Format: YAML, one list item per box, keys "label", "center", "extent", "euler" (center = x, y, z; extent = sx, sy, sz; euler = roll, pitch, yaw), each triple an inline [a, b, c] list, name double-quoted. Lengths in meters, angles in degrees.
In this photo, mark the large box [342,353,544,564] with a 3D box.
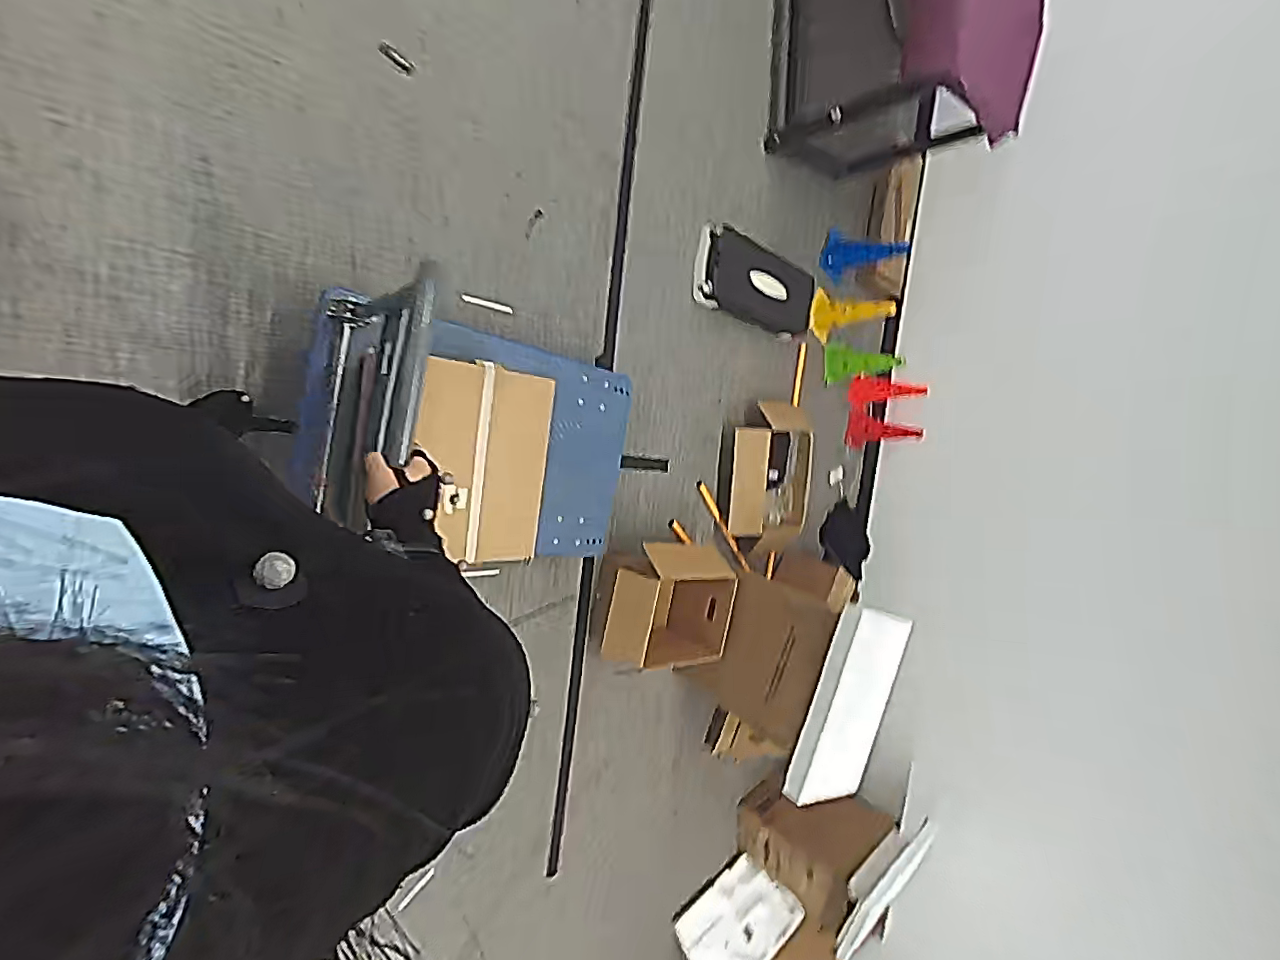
- label: "large box"
  center: [-0.447, -0.057, 1.208]
  extent: [0.320, 0.320, 0.408]
  euler: [4, 97, -42]
